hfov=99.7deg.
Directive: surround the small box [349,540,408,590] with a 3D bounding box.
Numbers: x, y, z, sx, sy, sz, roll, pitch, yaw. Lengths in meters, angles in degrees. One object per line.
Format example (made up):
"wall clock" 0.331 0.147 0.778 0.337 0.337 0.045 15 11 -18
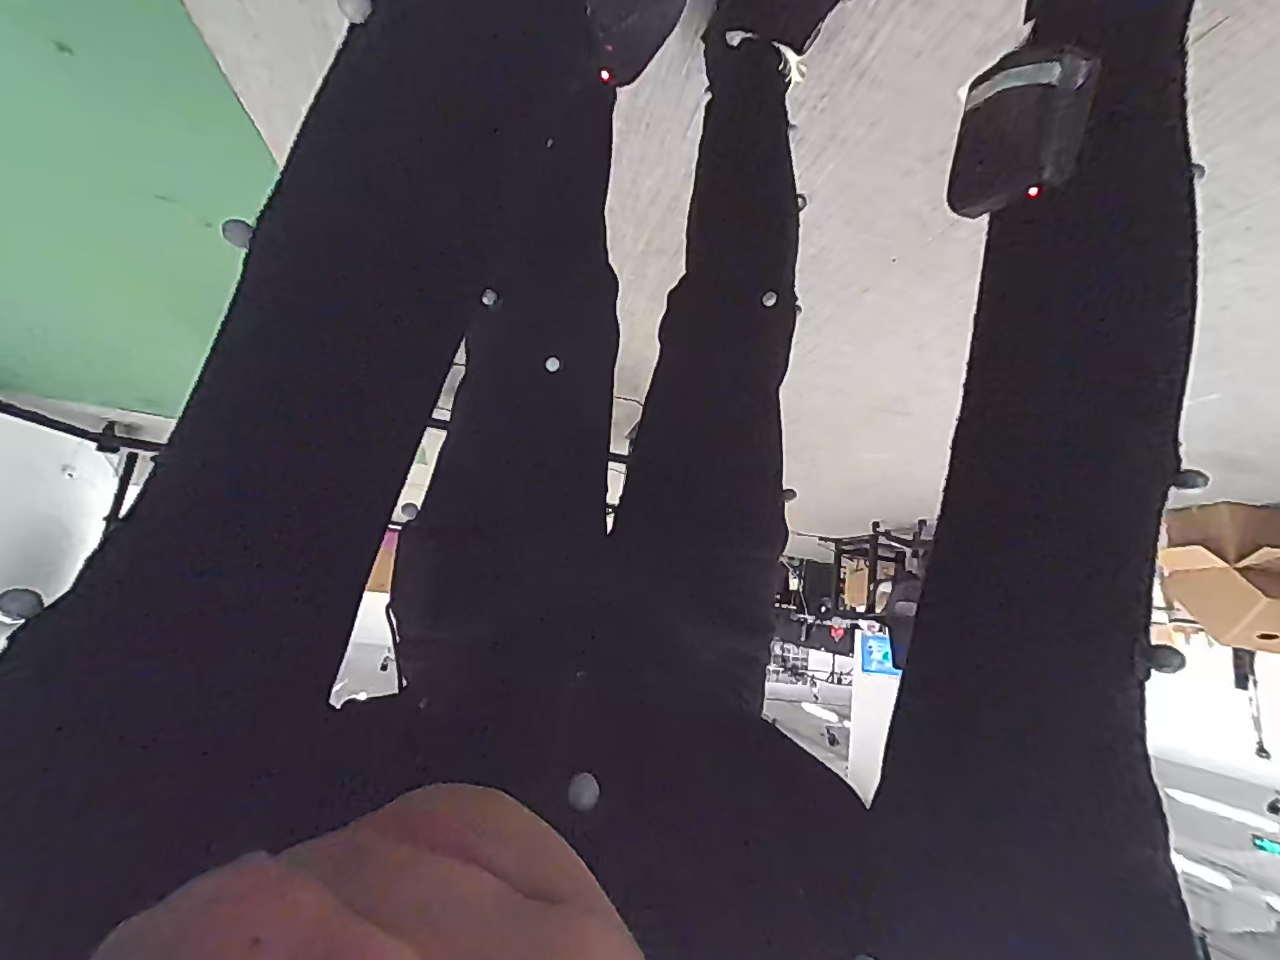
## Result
"small box" -0.972 0.315 2.021 0.168 0.176 0.179 10 171 -18
